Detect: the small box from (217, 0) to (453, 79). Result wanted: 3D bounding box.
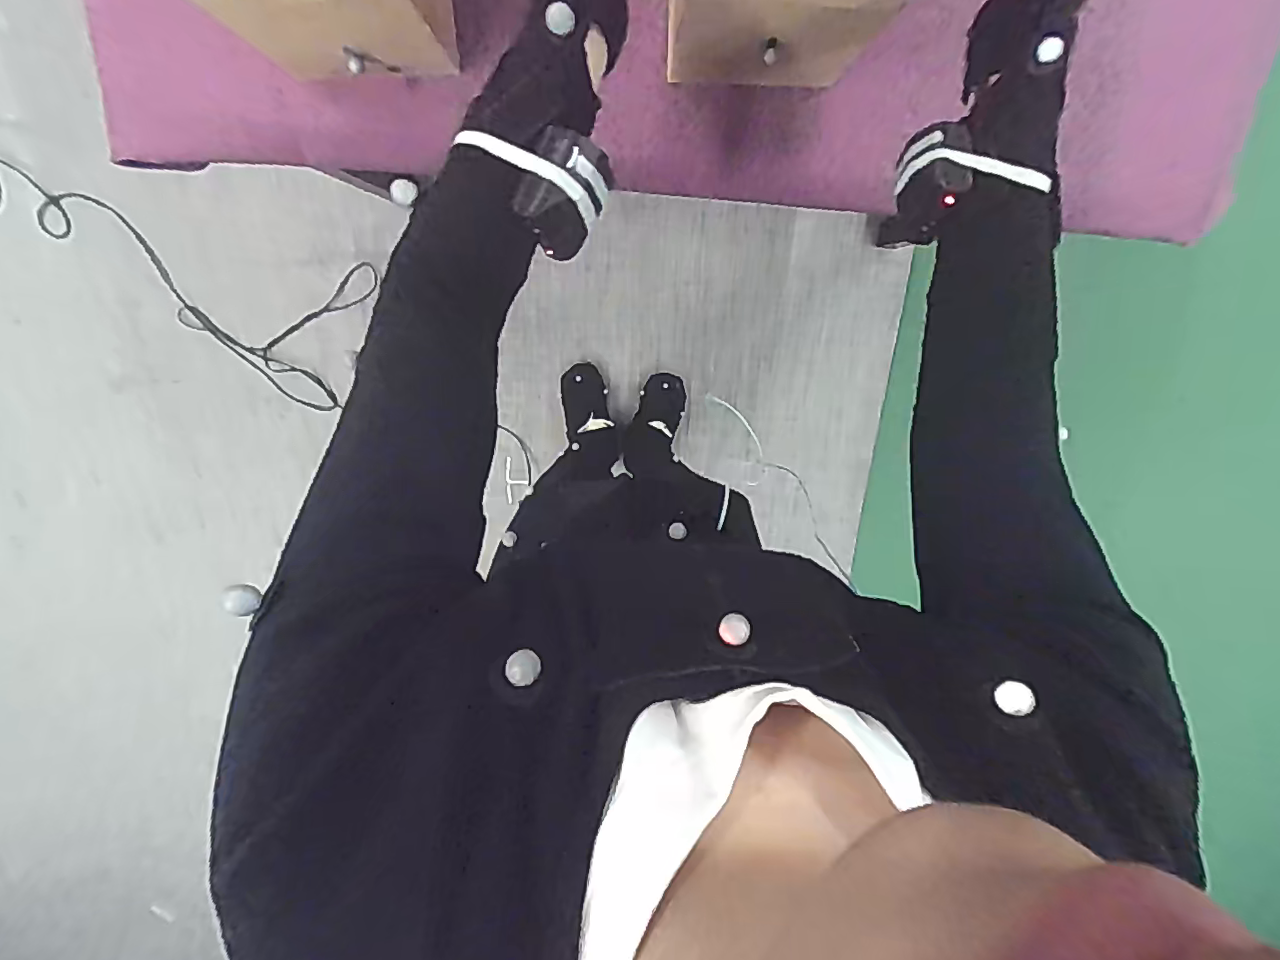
[{"bbox_3d":[-0.270,-0.475,0.454,0.168,0.176,0.179,-3,108,-2],"label":"small box"}]

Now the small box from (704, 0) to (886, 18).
[{"bbox_3d":[0.116,-0.419,0.322,0.179,0.176,0.168,4,107,-3],"label":"small box"}]
